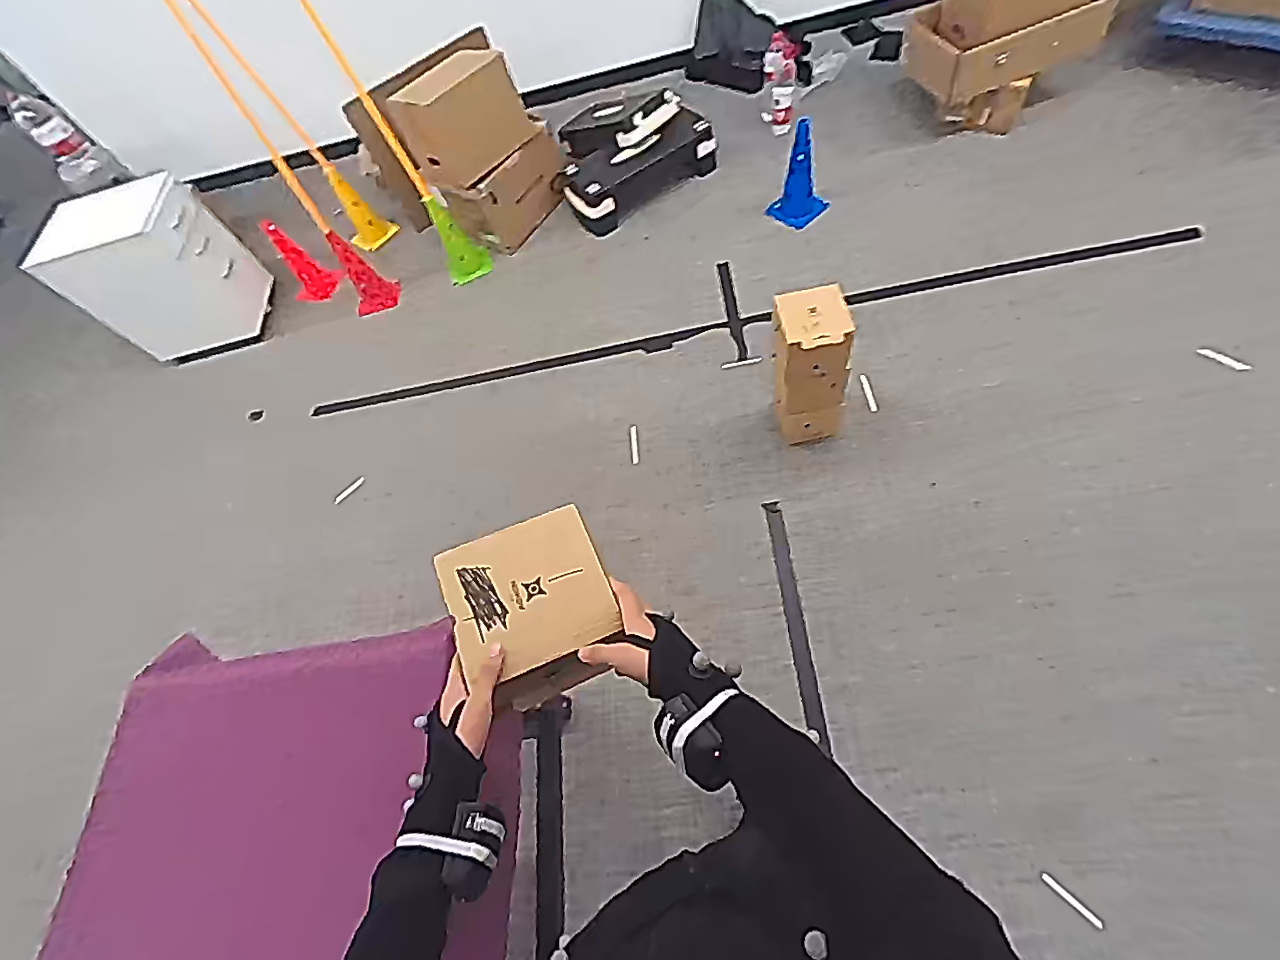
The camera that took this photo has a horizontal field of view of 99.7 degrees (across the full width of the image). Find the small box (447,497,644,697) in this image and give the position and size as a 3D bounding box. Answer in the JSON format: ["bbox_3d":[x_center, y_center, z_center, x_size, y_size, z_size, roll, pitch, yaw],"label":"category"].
[{"bbox_3d":[-0.108,0.153,0.670,0.179,0.176,0.168,-23,63,-5],"label":"small box"}]

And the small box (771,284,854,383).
[{"bbox_3d":[0.447,-0.384,1.434,0.168,0.176,0.179,-9,61,6],"label":"small box"}]

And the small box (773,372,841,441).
[{"bbox_3d":[0.527,-0.242,1.723,0.168,0.176,0.179,-13,60,5],"label":"small box"}]
